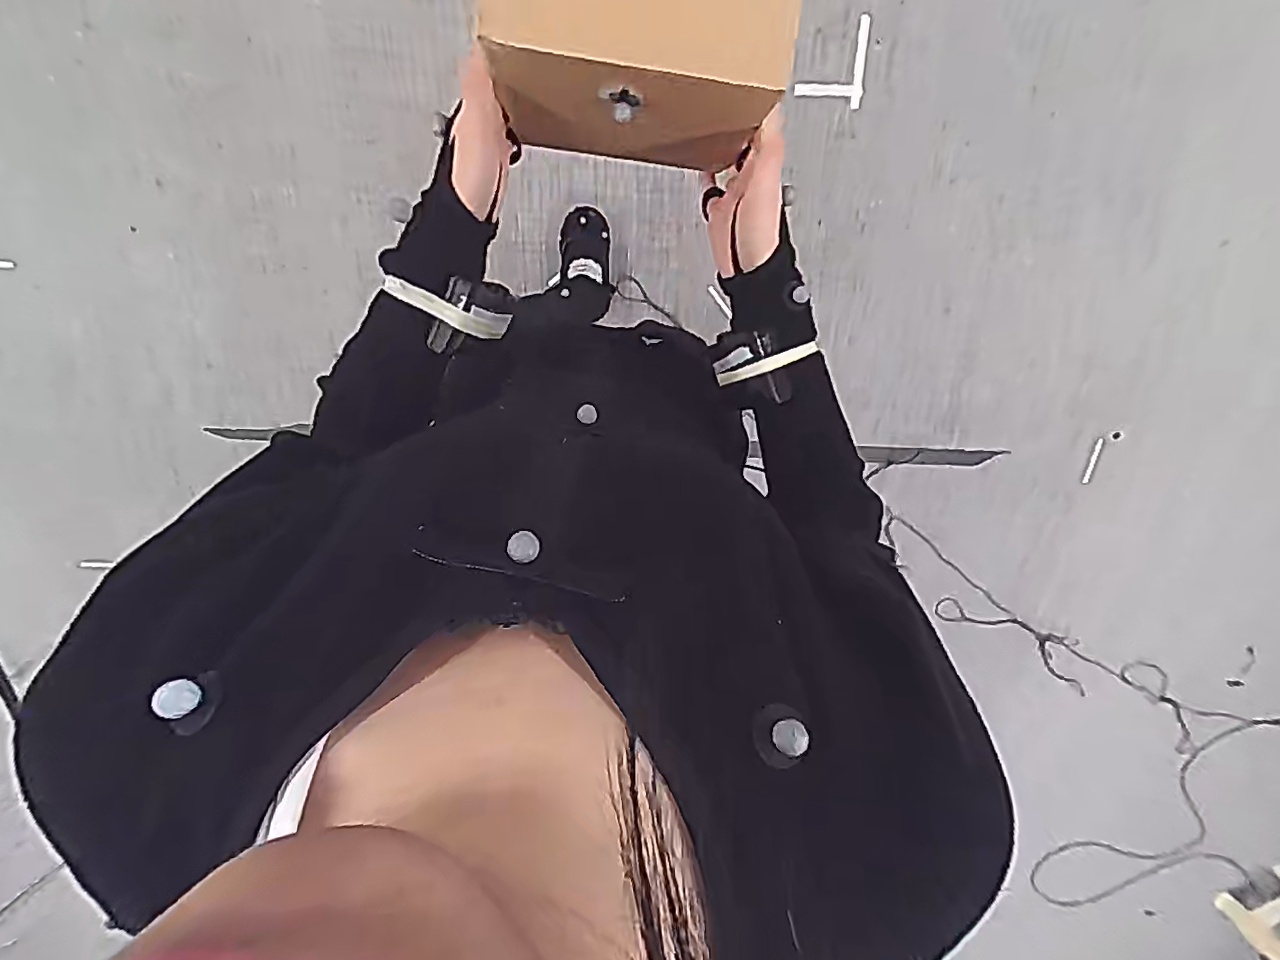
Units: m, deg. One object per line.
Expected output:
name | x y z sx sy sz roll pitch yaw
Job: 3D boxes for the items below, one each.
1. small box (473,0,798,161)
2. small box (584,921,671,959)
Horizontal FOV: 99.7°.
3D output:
small box | -0.001 -0.331 0.354 0.179 0.176 0.168 5 105 -7
small box | -0.024 1.020 1.077 0.179 0.176 0.168 -1 112 -2
